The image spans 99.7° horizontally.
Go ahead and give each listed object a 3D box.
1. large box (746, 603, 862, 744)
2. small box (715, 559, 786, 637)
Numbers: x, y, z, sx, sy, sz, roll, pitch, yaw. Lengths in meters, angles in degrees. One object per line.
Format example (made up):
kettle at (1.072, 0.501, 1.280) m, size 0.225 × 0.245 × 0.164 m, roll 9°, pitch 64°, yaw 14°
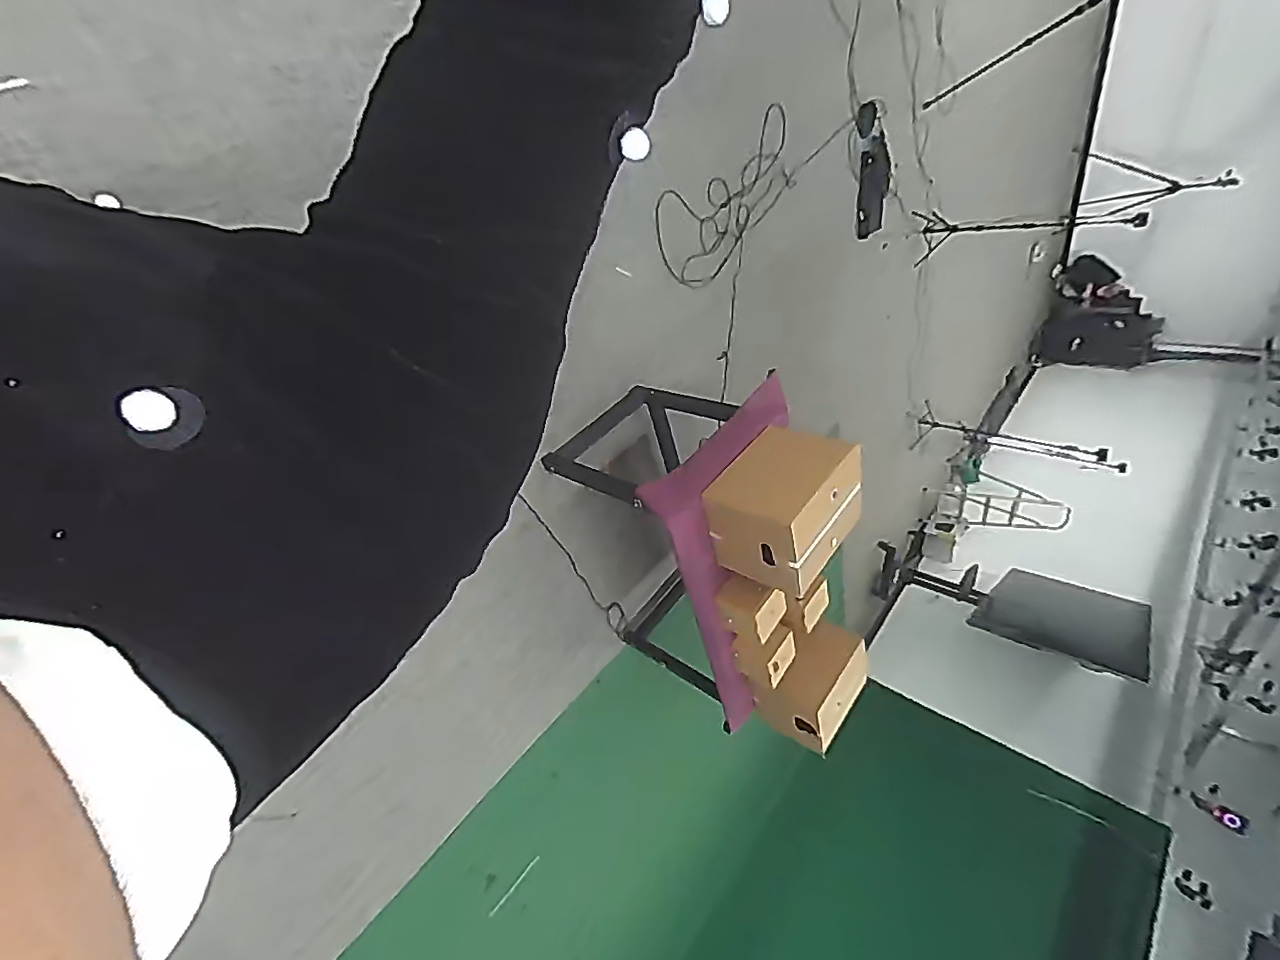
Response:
large box at (0.707, 0.807, 2.303) m, size 0.408 × 0.320 × 0.320 m, roll -41°, pitch 130°, yaw -30°
small box at (0.387, 0.407, 1.894) m, size 0.179 × 0.176 × 0.168 m, roll -45°, pitch 133°, yaw -30°
